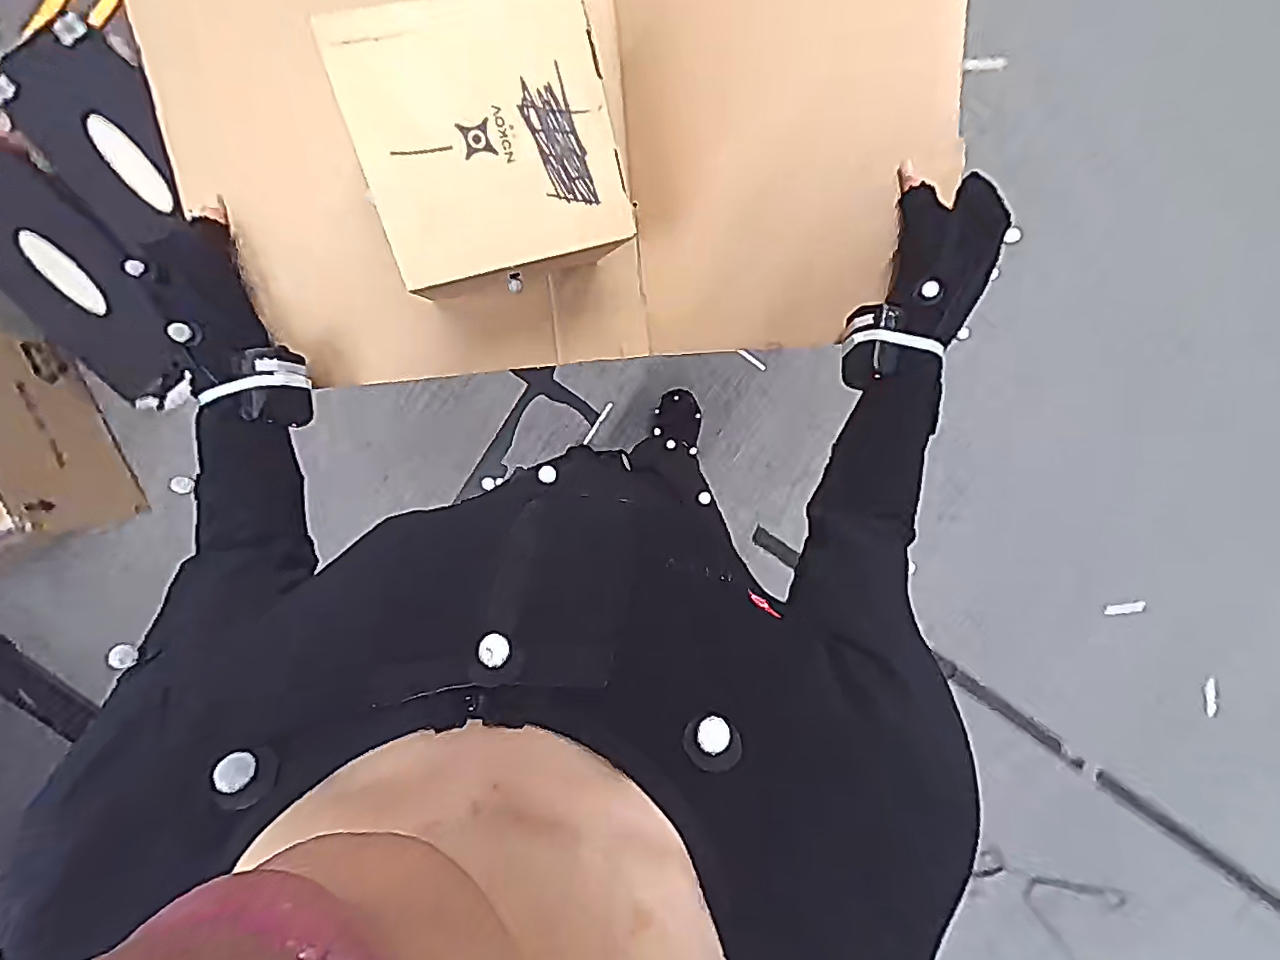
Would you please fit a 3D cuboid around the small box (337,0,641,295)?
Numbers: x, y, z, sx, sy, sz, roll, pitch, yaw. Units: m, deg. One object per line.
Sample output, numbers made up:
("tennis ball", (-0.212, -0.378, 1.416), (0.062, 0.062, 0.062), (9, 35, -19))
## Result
("small box", (-0.115, -0.259, 0.456), (0.179, 0.176, 0.168), (-16, 109, -9))
